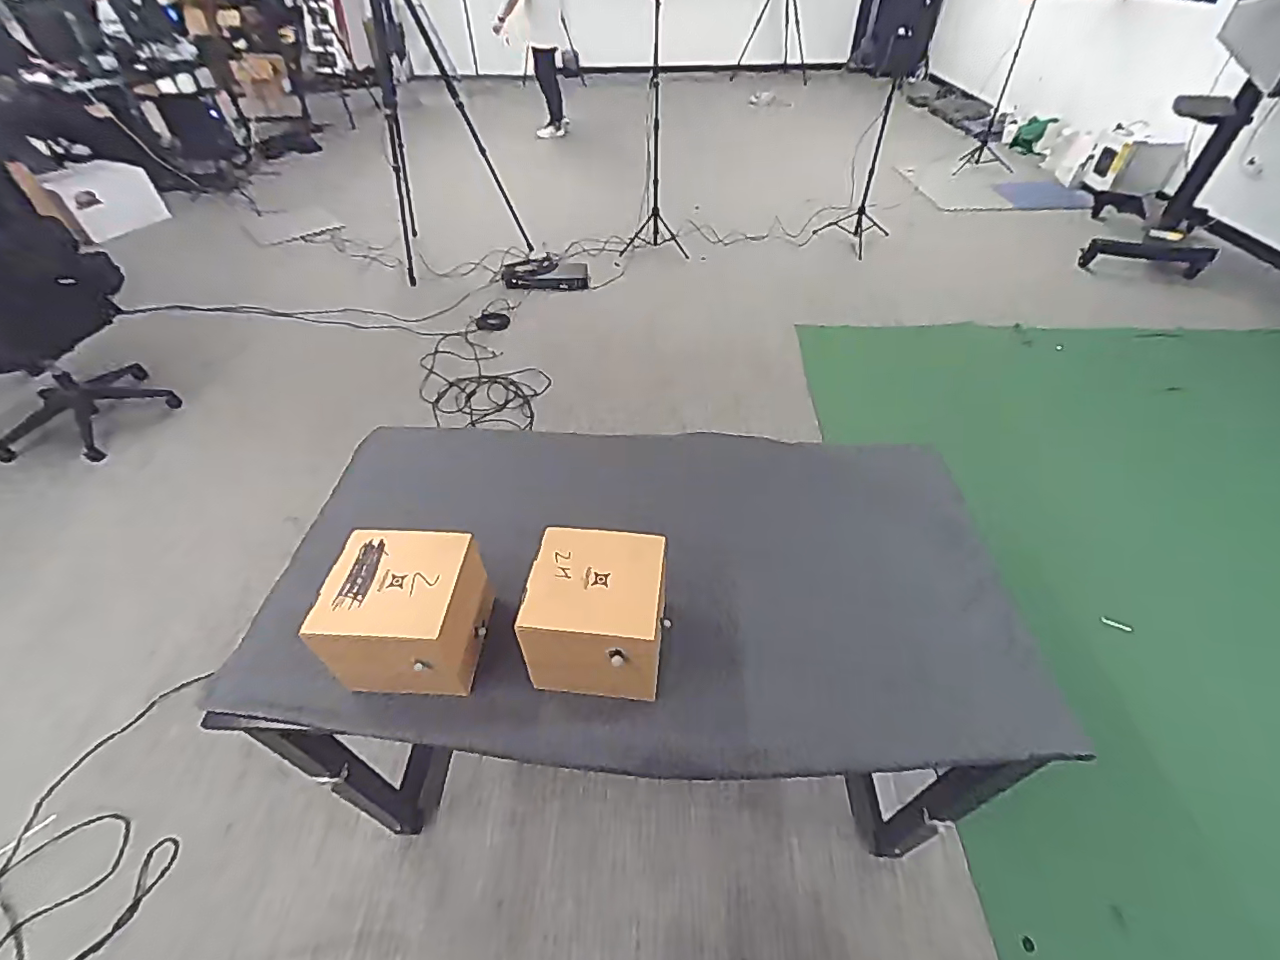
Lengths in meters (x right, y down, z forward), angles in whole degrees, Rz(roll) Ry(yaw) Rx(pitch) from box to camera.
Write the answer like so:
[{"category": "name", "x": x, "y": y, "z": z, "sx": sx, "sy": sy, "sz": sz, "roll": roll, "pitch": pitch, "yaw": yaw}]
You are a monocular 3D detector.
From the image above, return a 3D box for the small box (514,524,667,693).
[{"category": "small box", "x": -0.057, "y": 0.184, "z": 0.765, "sx": 0.179, "sy": 0.176, "sz": 0.168, "roll": 4, "pitch": 44, "yaw": 7}]
